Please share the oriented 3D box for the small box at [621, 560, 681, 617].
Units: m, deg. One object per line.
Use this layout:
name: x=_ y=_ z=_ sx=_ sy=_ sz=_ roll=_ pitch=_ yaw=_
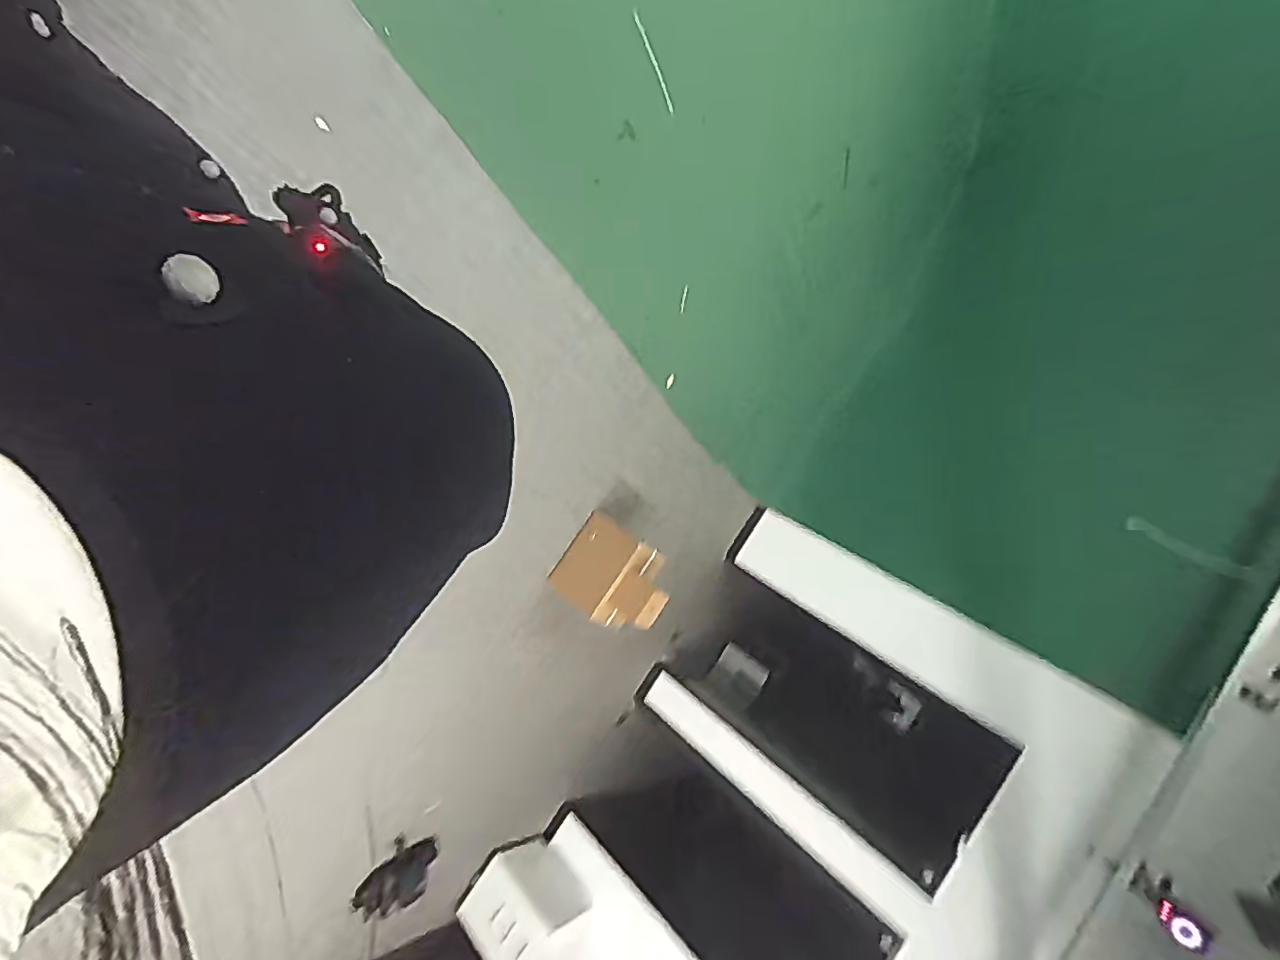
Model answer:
small box: x=0.046 y=0.482 z=2.411 sx=0.179 sy=0.176 sz=0.168 roll=-55 pitch=145 yaw=-1
